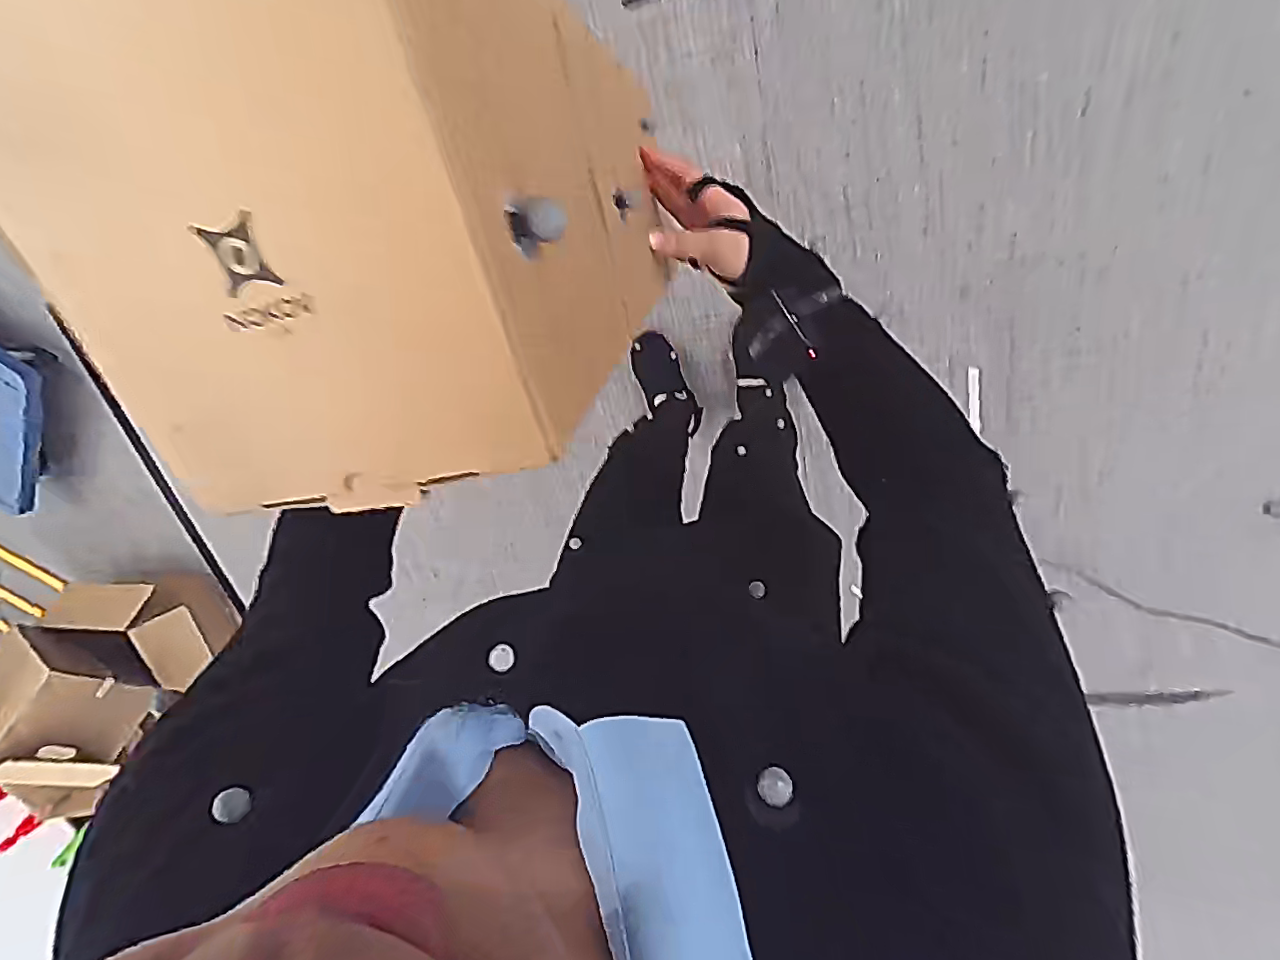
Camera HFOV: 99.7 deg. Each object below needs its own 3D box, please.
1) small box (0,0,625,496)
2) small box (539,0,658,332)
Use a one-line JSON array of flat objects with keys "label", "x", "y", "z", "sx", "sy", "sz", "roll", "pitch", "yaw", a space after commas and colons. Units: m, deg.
[{"label": "small box", "x": -0.114, "y": -0.118, "z": 0.244, "sx": 0.168, "sy": 0.176, "sz": 0.179, "roll": -9, "pitch": 118, "yaw": 14}, {"label": "small box", "x": -0.088, "y": -0.198, "z": 0.383, "sx": 0.168, "sy": 0.176, "sz": 0.179, "roll": -8, "pitch": 117, "yaw": 13}]
